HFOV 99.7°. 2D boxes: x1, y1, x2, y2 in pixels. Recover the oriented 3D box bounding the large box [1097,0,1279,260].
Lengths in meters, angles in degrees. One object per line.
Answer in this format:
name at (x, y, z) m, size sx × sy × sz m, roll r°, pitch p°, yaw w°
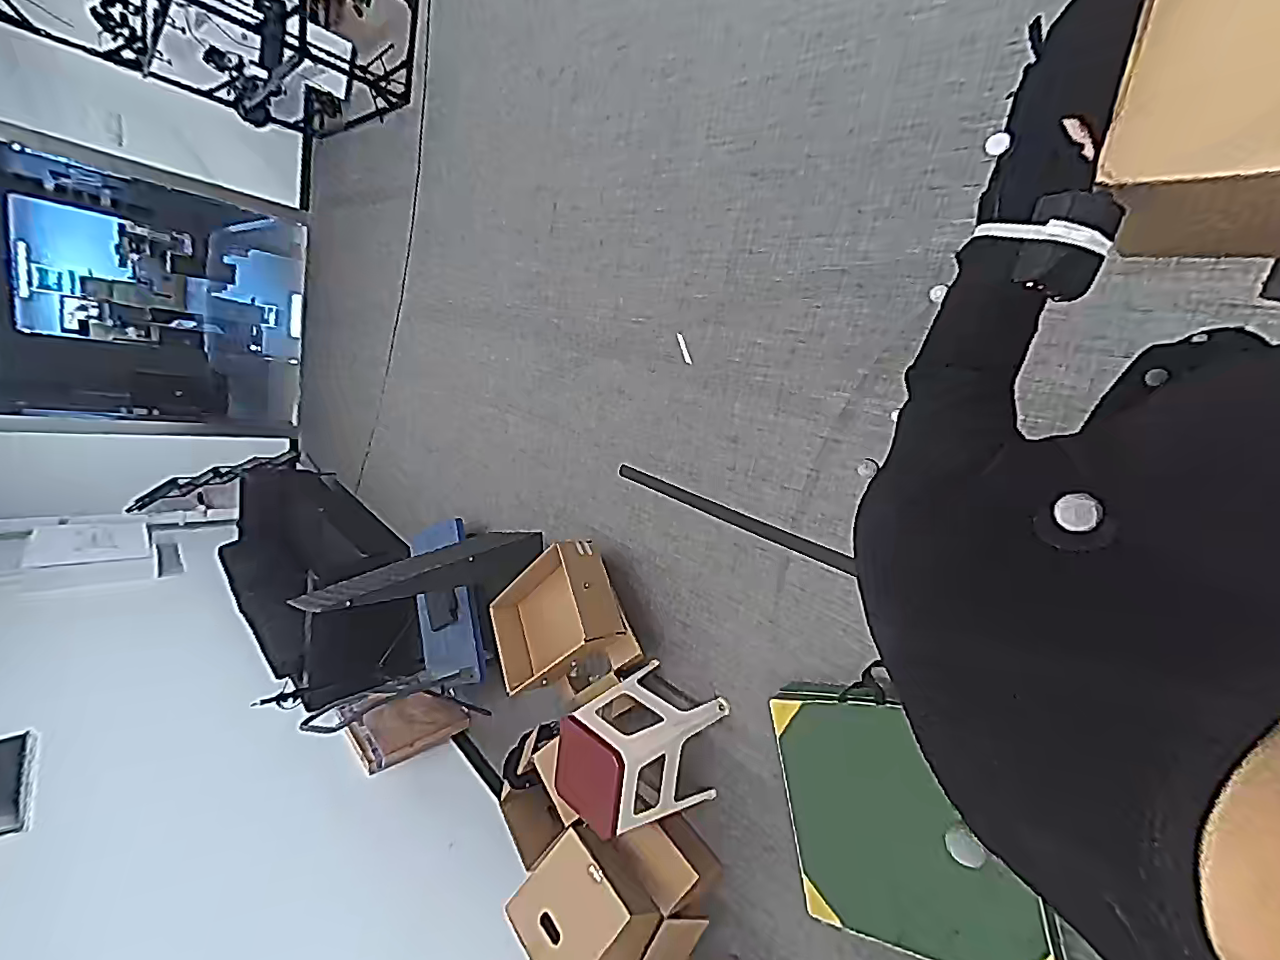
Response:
large box at (0.596, -0.334, 0.346) m, size 0.408 × 0.320 × 0.320 m, roll 20°, pitch 111°, yaw 40°
